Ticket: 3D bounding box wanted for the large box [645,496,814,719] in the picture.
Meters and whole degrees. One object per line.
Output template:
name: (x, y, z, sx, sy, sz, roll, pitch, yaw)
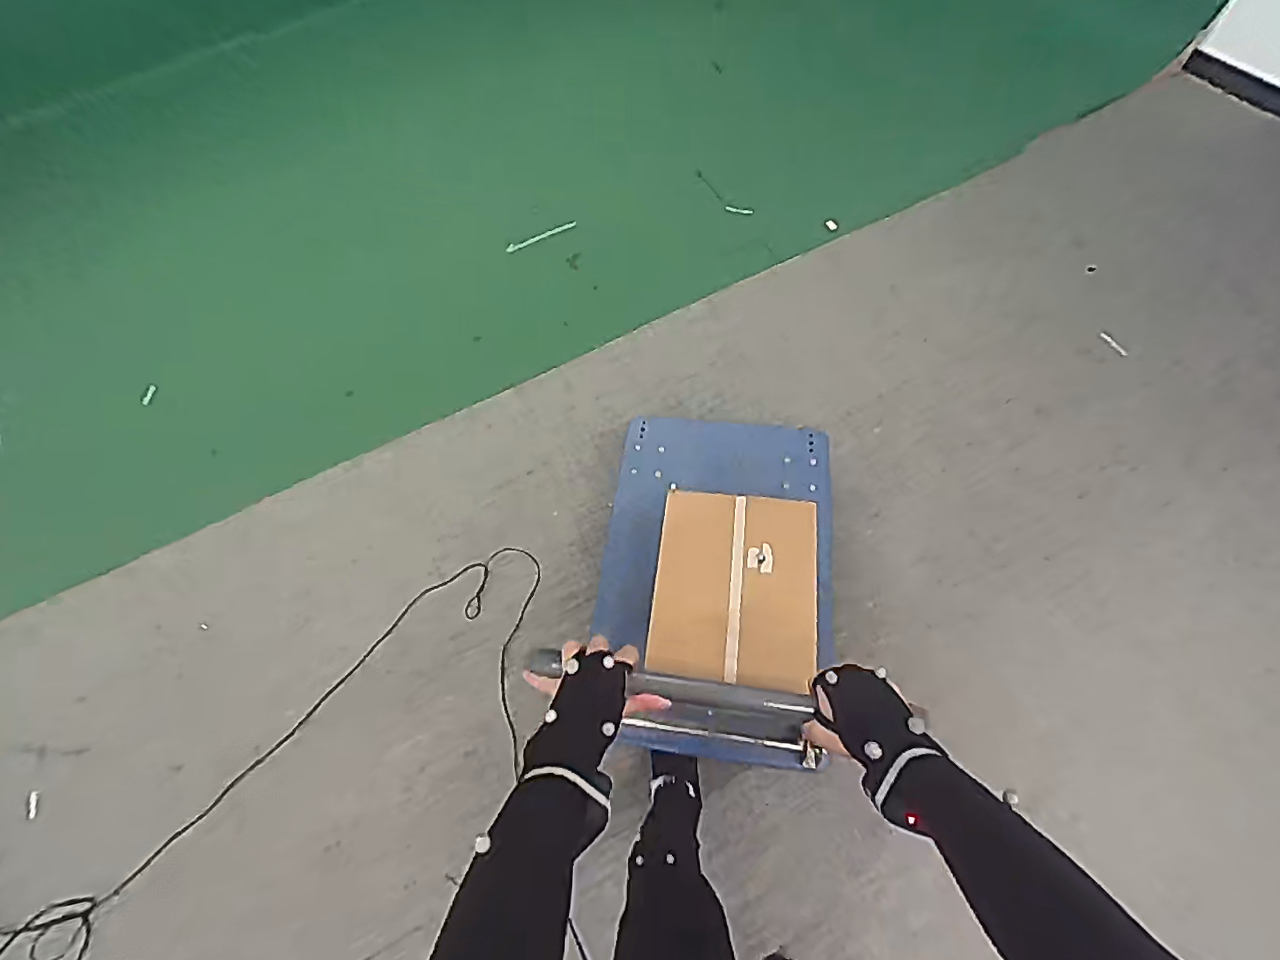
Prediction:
large box: (0.199, 0.291, 1.207, 0.320, 0.320, 0.408, 5, 63, 8)
